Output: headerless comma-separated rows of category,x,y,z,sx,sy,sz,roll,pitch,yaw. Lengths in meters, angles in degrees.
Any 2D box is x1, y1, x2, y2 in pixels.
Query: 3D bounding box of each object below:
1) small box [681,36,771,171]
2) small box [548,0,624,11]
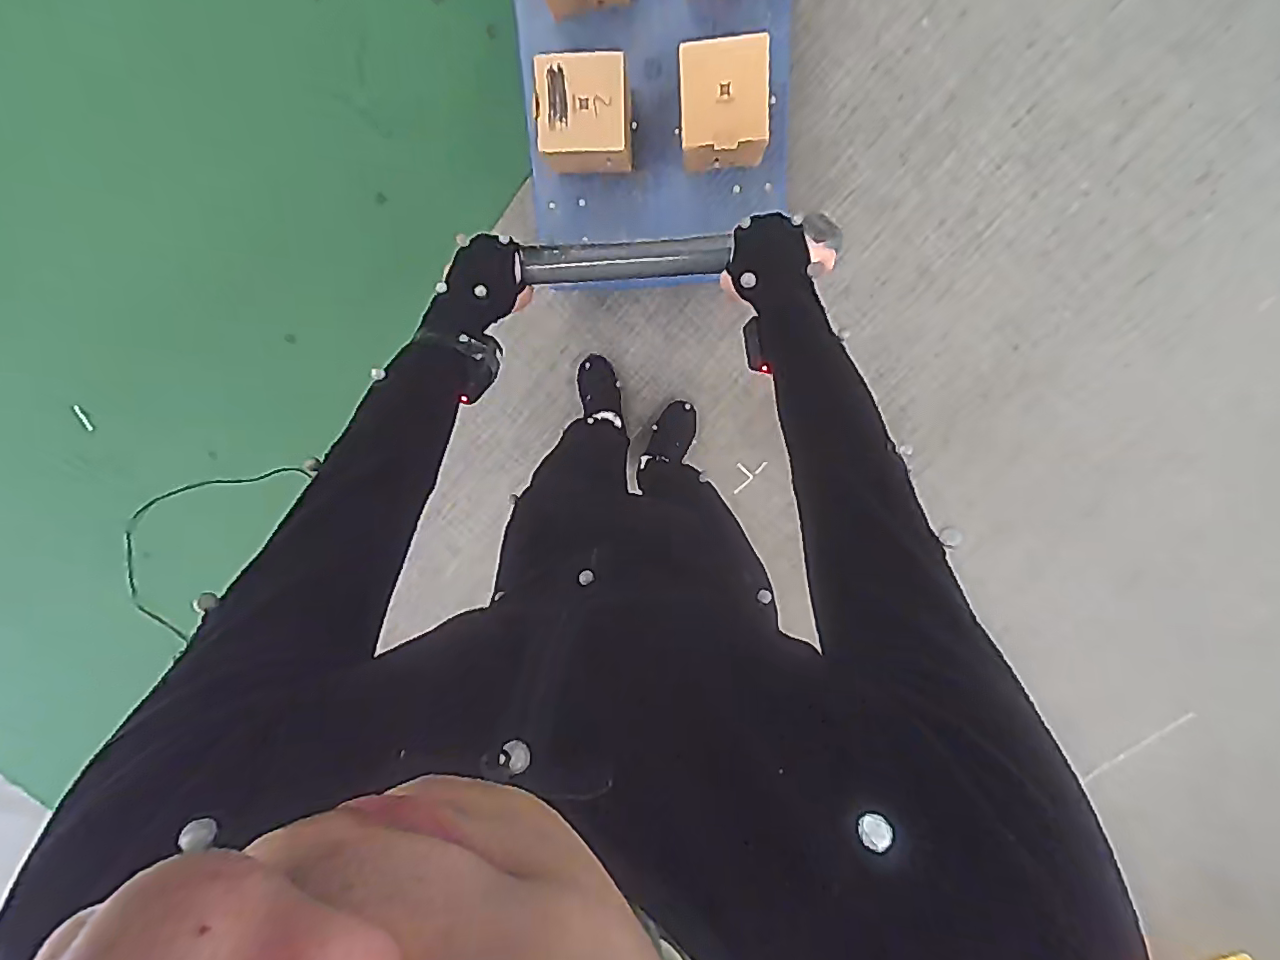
small box,0.167,-0.747,1.089,0.168,0.176,0.179,-2,108,6
small box,-0.117,-1.033,1.022,0.168,0.176,0.179,-6,107,6
